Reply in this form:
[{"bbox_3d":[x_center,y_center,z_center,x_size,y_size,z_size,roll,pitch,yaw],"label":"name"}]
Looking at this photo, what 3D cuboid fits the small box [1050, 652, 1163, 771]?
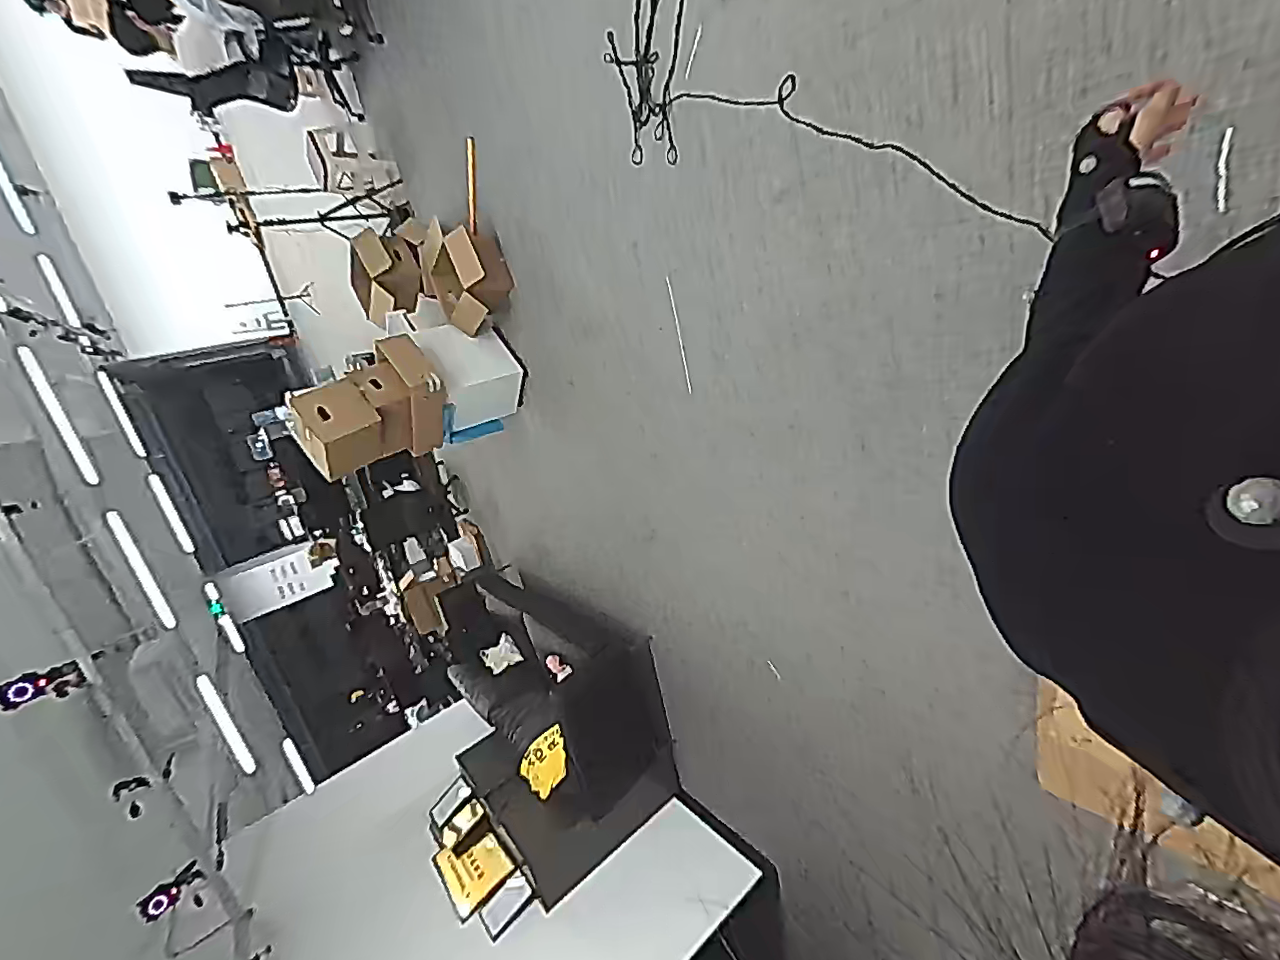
[{"bbox_3d":[1.162,0.566,1.347,0.168,0.176,0.179,21,127,49],"label":"small box"}]
